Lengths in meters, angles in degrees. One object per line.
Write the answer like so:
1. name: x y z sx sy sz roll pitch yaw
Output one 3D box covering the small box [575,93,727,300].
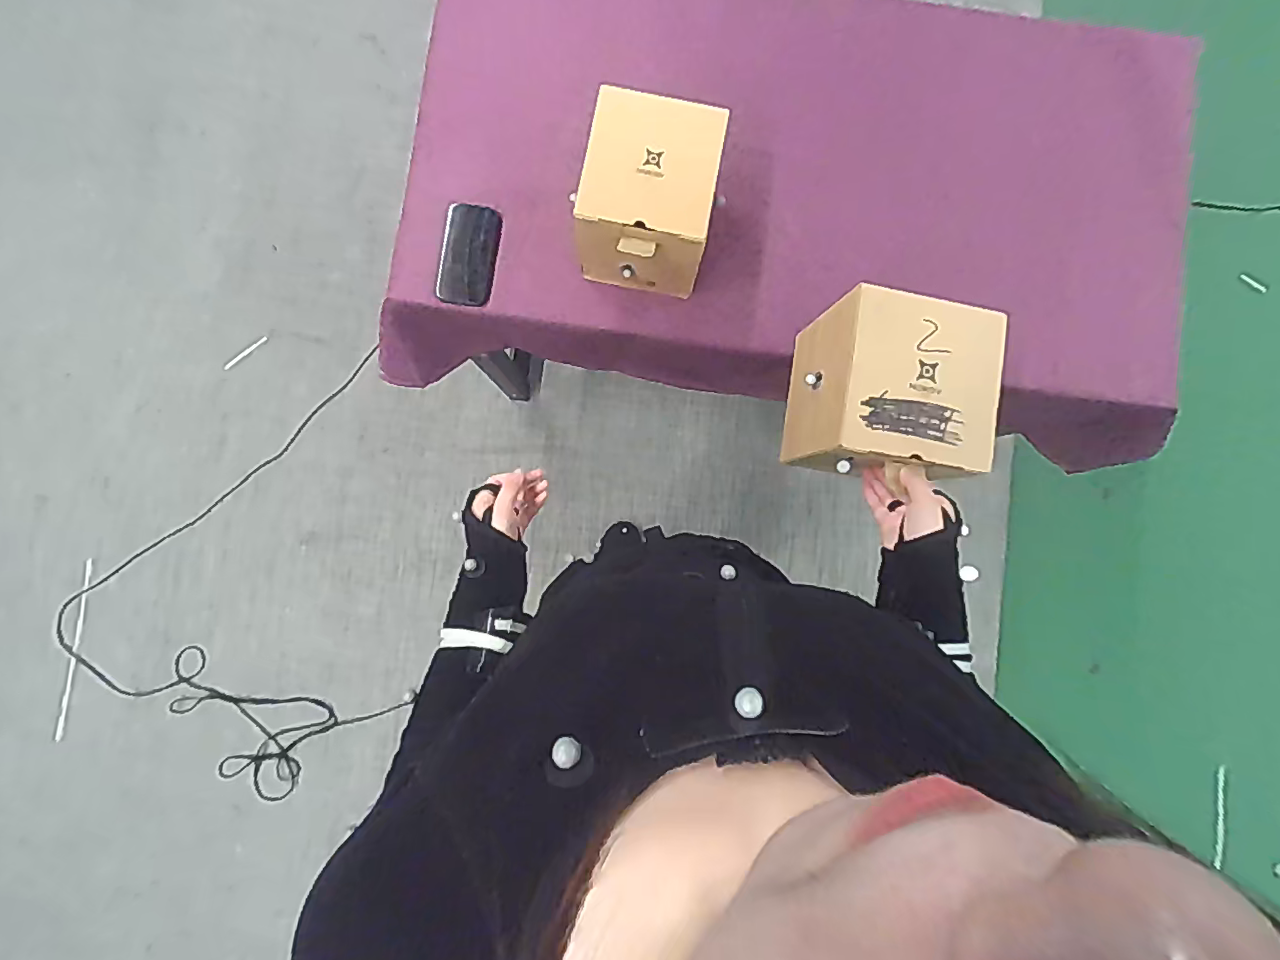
1. small box: 0.012 -0.379 0.751 0.168 0.176 0.179 11 85 -1
